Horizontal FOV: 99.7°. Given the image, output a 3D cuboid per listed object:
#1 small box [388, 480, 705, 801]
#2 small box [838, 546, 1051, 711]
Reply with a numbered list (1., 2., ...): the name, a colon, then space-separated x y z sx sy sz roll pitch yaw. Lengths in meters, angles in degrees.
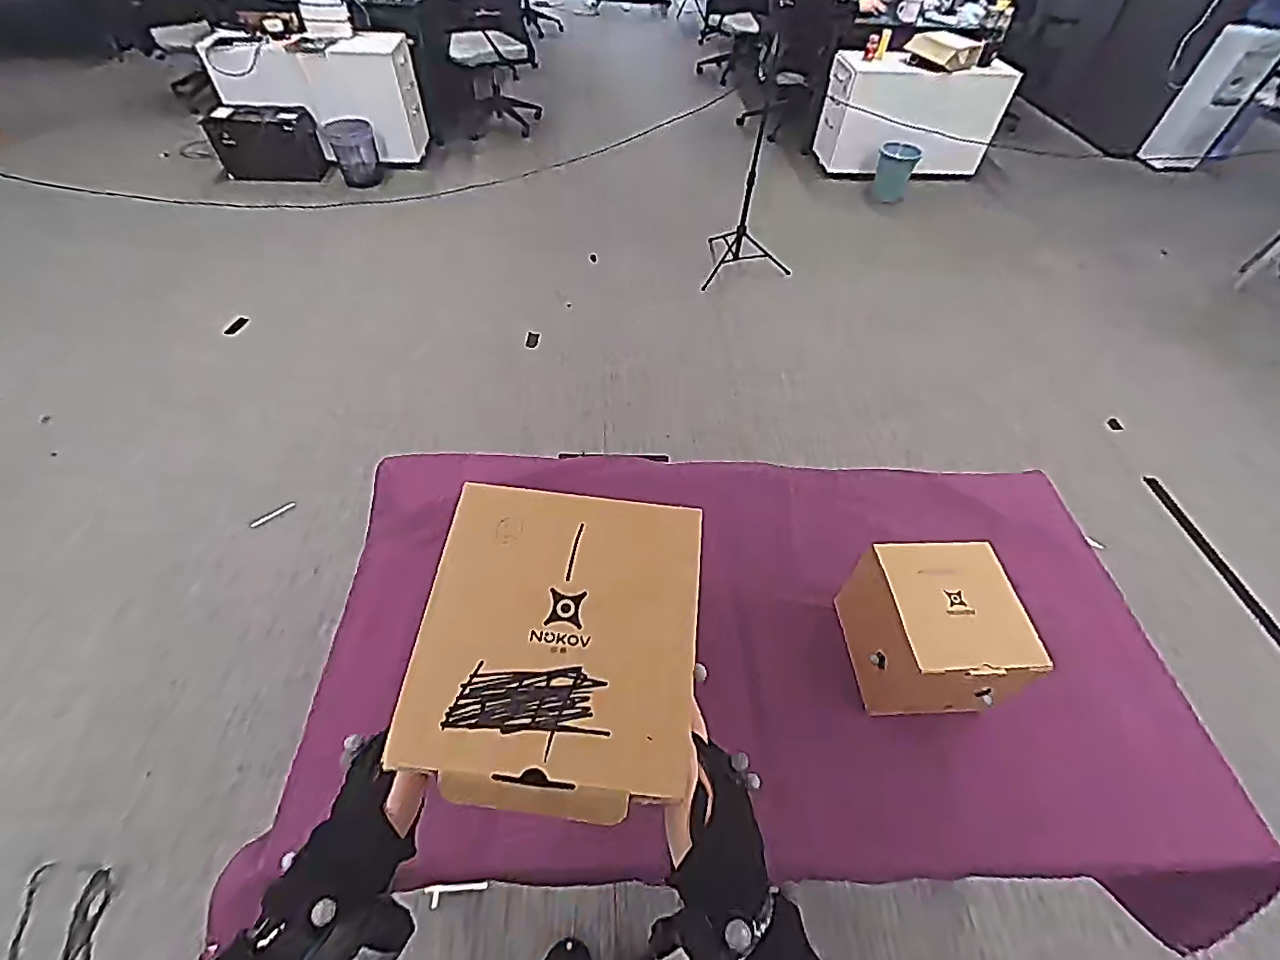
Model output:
1. small box: -0.050 0.123 0.399 0.168 0.176 0.179 7 61 0
2. small box: 0.392 0.207 0.737 0.168 0.176 0.179 0 51 -3
